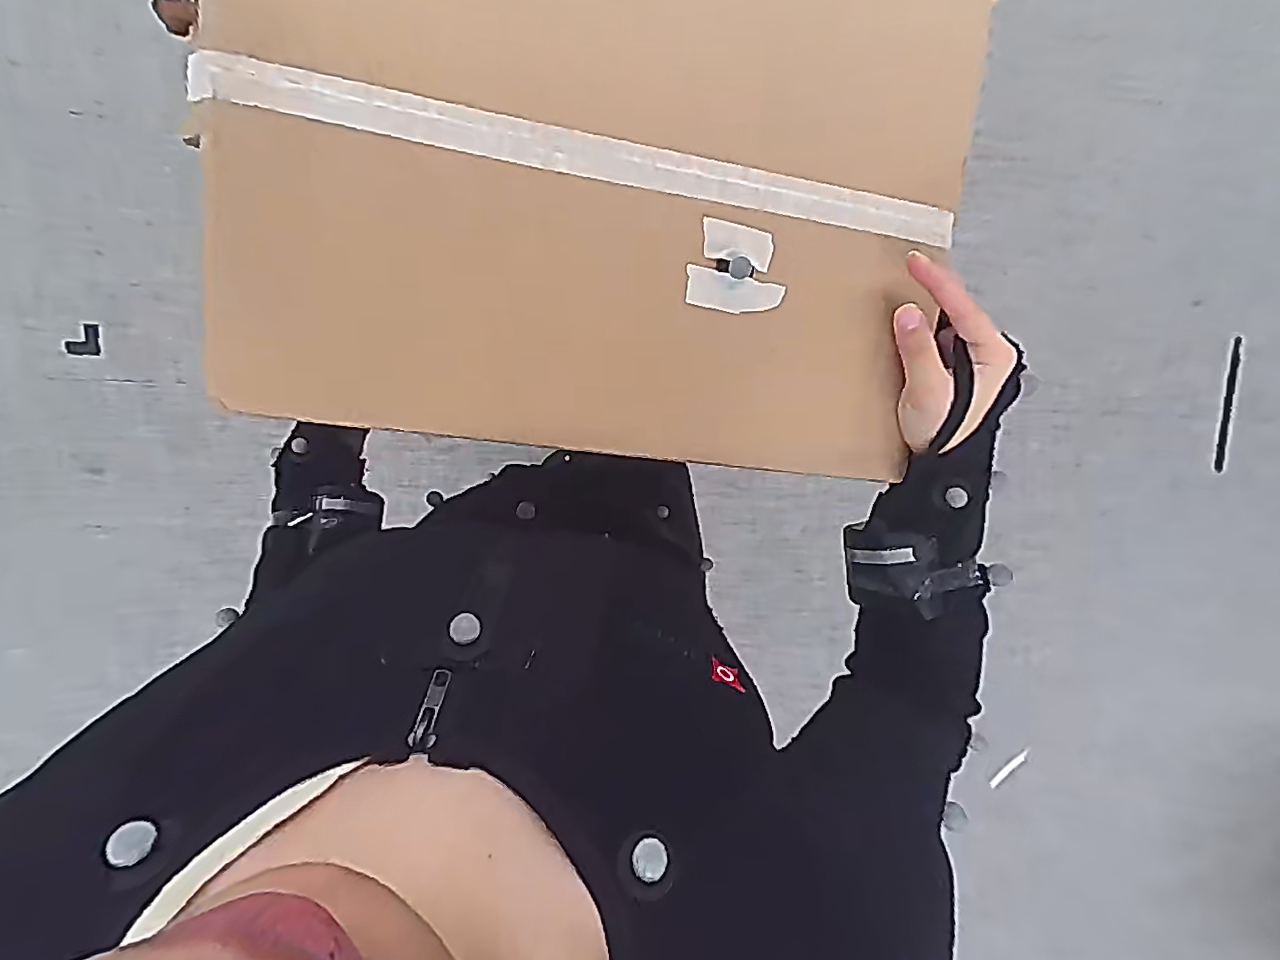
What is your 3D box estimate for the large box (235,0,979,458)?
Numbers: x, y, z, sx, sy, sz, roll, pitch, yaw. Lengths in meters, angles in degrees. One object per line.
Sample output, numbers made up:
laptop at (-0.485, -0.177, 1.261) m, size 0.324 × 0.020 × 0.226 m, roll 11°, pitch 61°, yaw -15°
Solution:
large box at (-0.033, -0.202, 0.446) m, size 0.408 × 0.320 × 0.320 m, roll 5°, pitch 99°, yaw -13°
